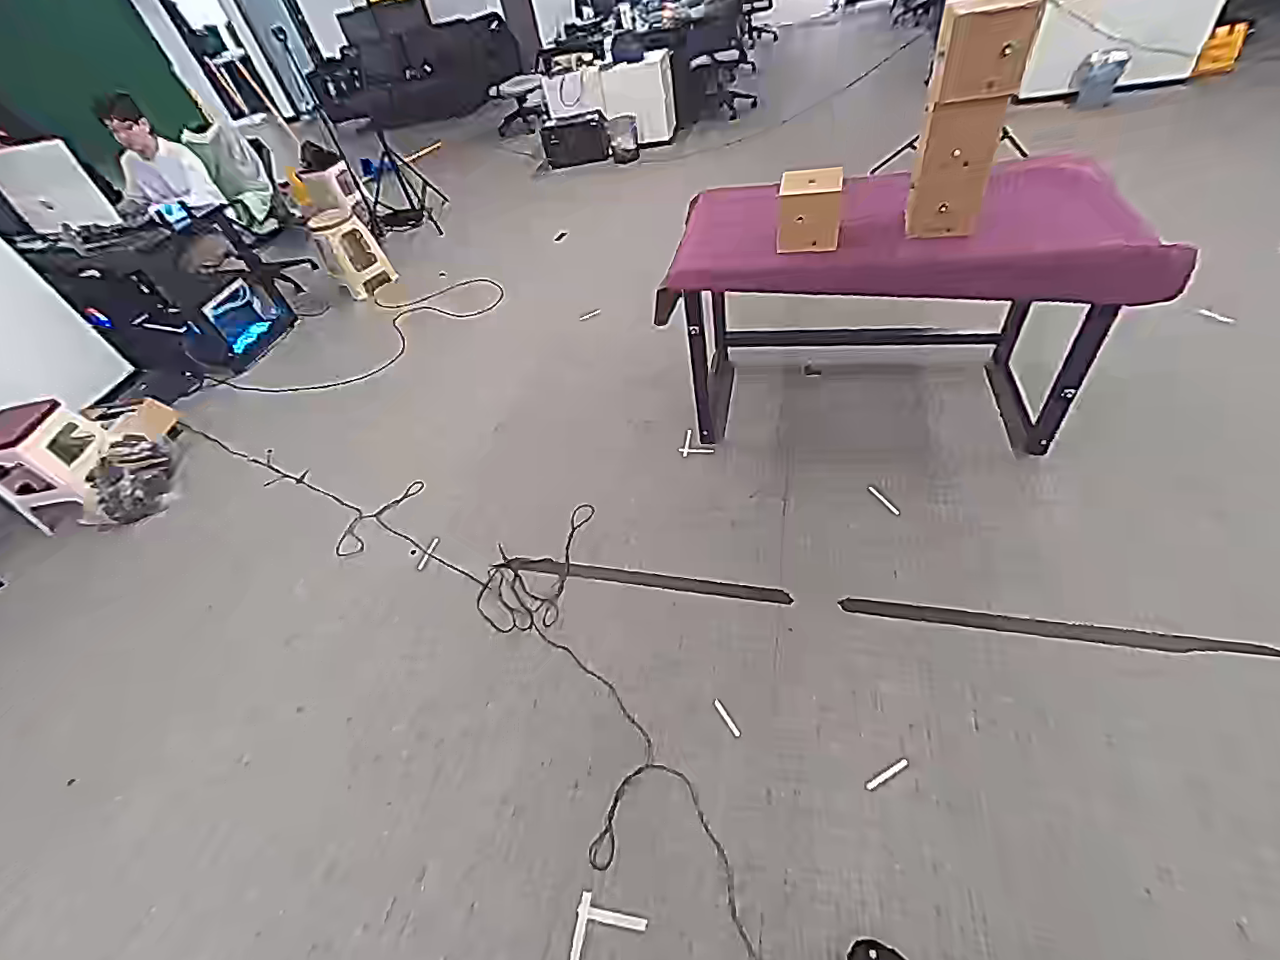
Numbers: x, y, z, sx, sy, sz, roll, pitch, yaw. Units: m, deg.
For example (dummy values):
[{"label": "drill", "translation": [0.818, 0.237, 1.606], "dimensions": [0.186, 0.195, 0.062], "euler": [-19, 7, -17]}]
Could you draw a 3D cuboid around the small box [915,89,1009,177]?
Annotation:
[{"label": "small box", "translation": [0.812, -0.898, 1.383], "dimensions": [0.168, 0.176, 0.179], "euler": [5, 50, 18]}]

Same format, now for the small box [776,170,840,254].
[{"label": "small box", "translation": [0.486, -0.770, 1.566], "dimensions": [0.168, 0.176, 0.179], "euler": [4, 48, 16]}]

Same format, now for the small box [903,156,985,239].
[{"label": "small box", "translation": [0.835, -0.785, 1.500], "dimensions": [0.168, 0.176, 0.179], "euler": [6, 49, 17]}]

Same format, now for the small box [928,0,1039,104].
[{"label": "small box", "translation": [0.782, -0.990, 1.251], "dimensions": [0.168, 0.176, 0.179], "euler": [4, 48, 15]}]
